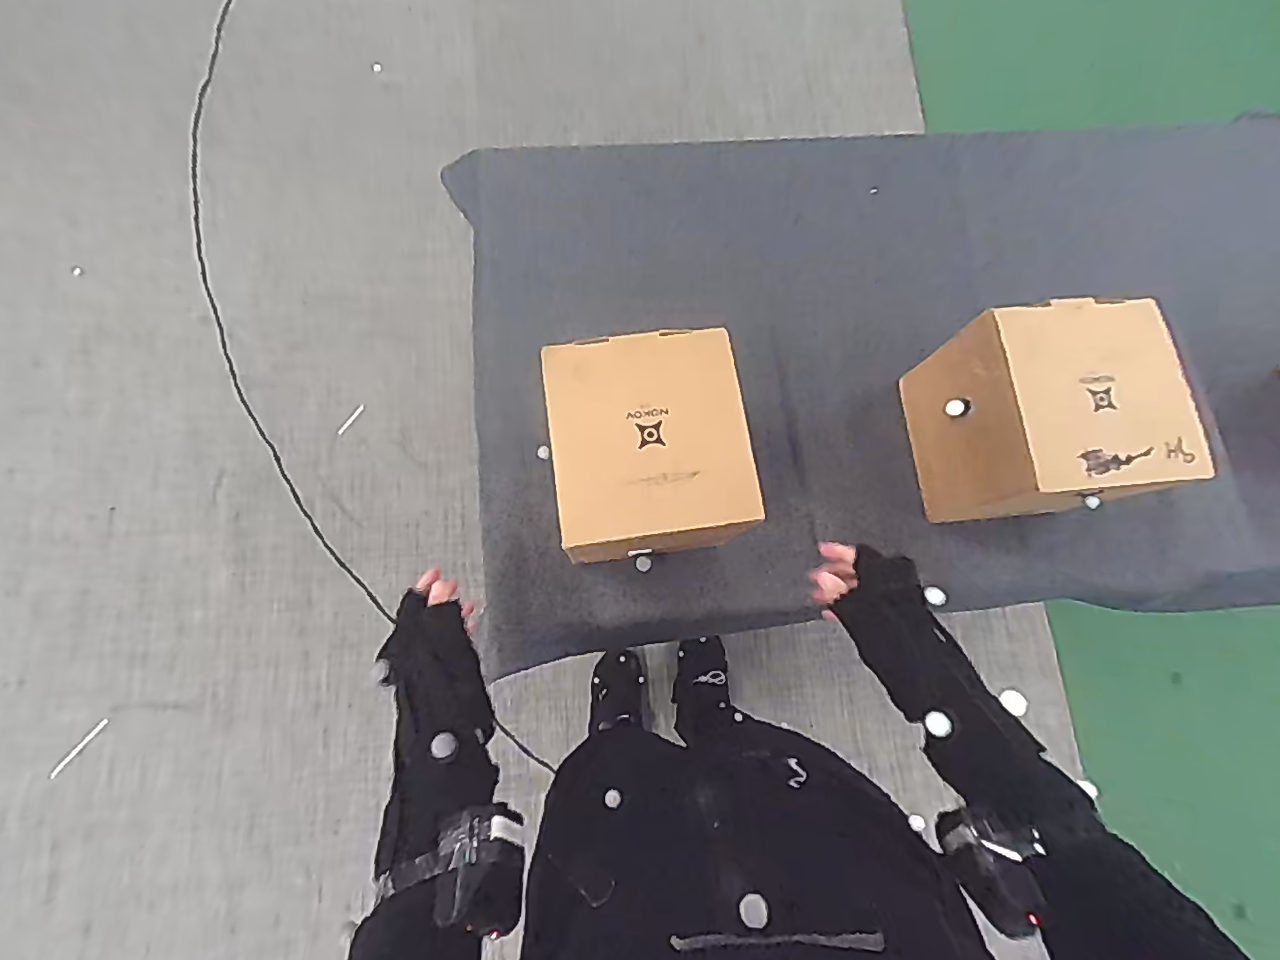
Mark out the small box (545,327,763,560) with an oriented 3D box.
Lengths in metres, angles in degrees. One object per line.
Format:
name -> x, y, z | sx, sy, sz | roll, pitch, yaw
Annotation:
small box -> 0.005, -0.025, 0.533 | 0.168, 0.176, 0.179 | -8, 77, -4

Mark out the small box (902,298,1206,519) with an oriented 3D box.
small box -> 0.402, -0.064, 0.564 | 0.168, 0.176, 0.179 | -5, 77, -4
